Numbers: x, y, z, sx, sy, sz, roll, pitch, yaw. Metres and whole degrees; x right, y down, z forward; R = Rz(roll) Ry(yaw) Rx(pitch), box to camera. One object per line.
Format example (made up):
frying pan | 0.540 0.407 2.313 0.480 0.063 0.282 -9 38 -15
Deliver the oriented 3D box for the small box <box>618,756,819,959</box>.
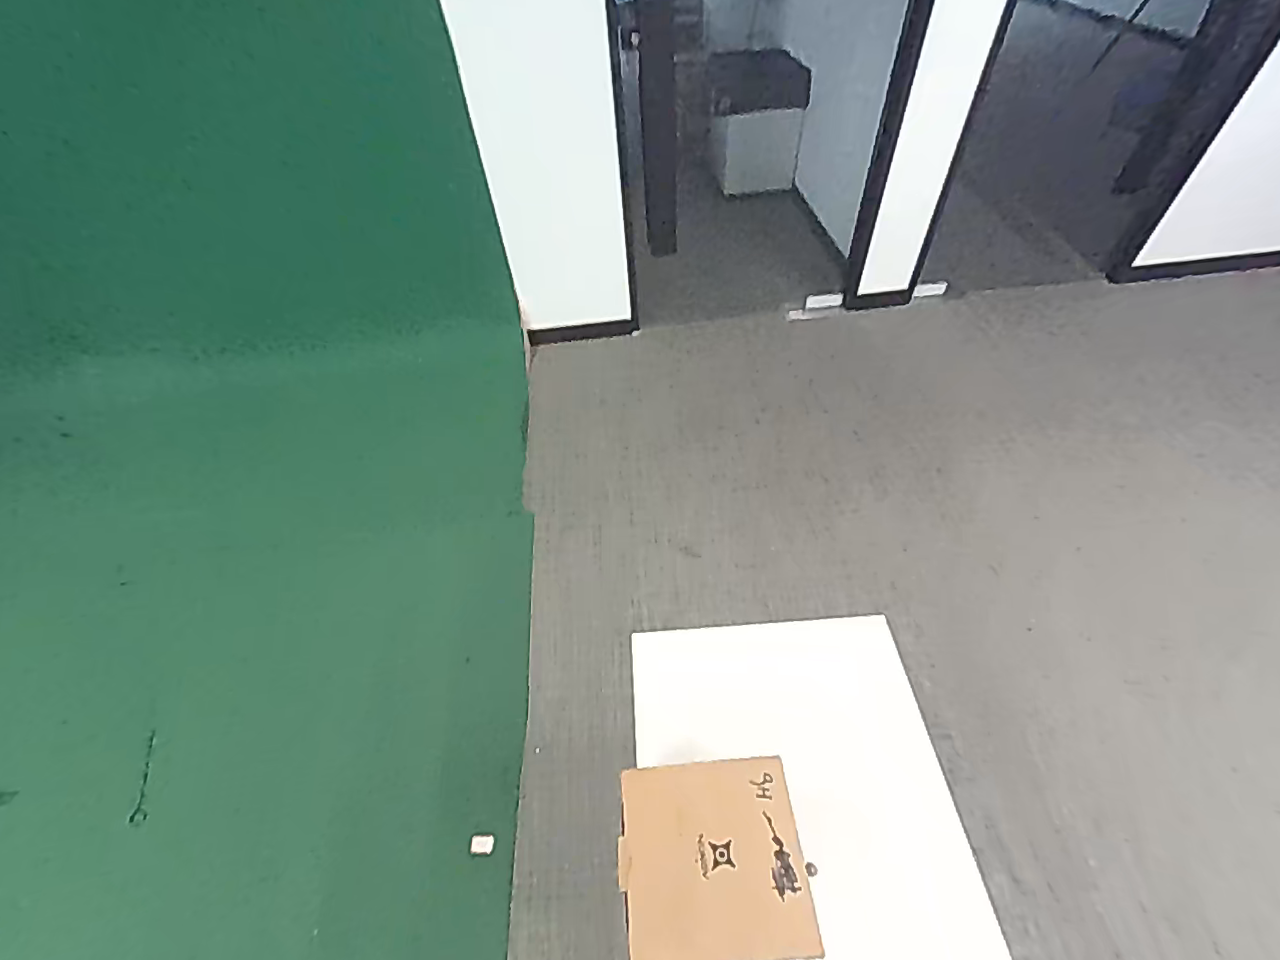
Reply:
small box | 0.073 0.417 0.588 0.179 0.176 0.168 -5 50 -1
